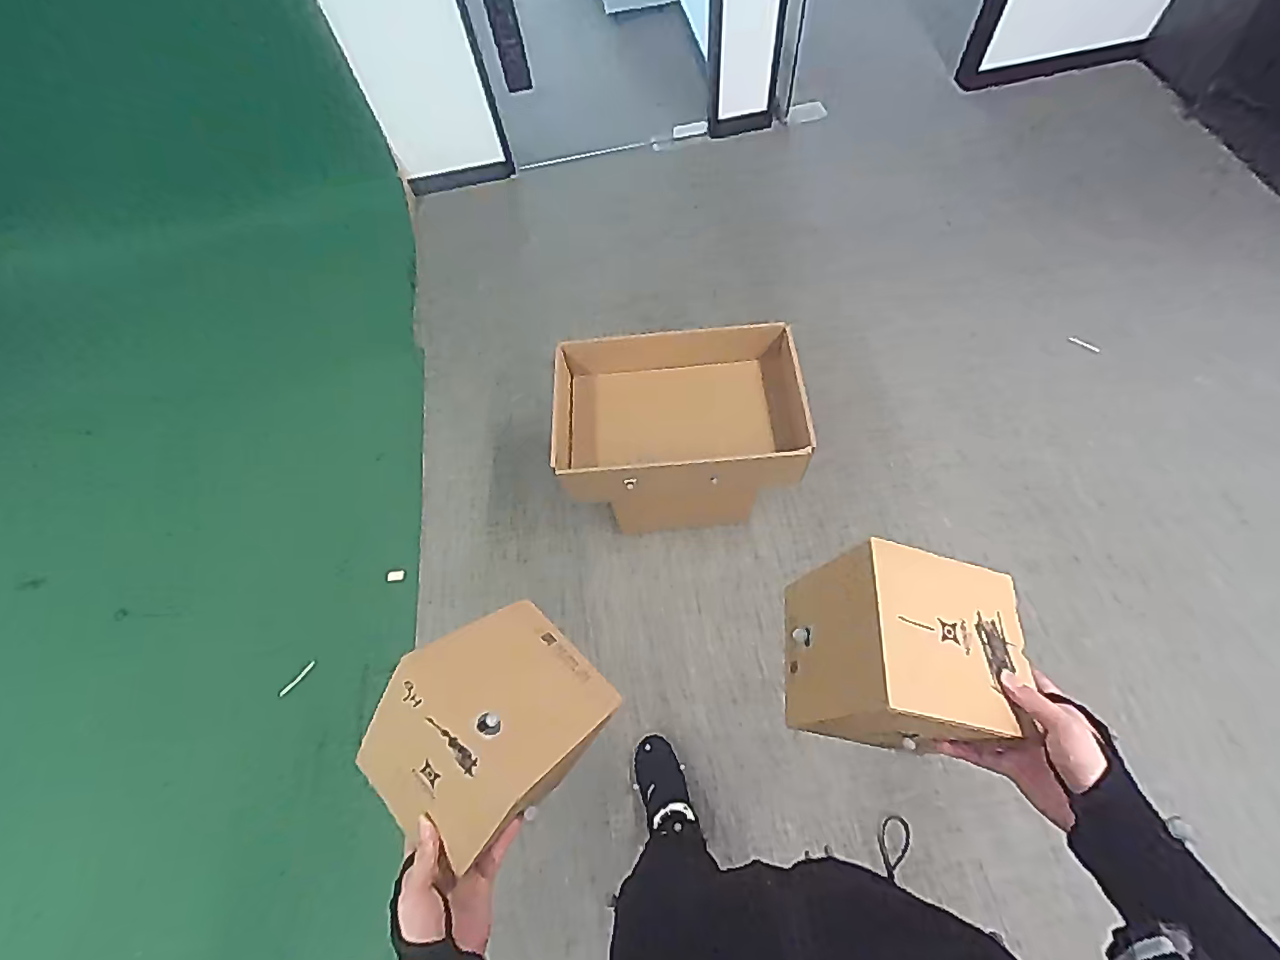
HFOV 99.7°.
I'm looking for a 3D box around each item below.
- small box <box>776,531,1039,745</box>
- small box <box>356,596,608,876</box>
[{"bbox_3d":[0.267,0.179,0.581,0.179,0.176,0.168,16,57,-10],"label":"small box"},{"bbox_3d":[-0.163,0.257,0.578,0.168,0.176,0.179,41,116,19],"label":"small box"}]
